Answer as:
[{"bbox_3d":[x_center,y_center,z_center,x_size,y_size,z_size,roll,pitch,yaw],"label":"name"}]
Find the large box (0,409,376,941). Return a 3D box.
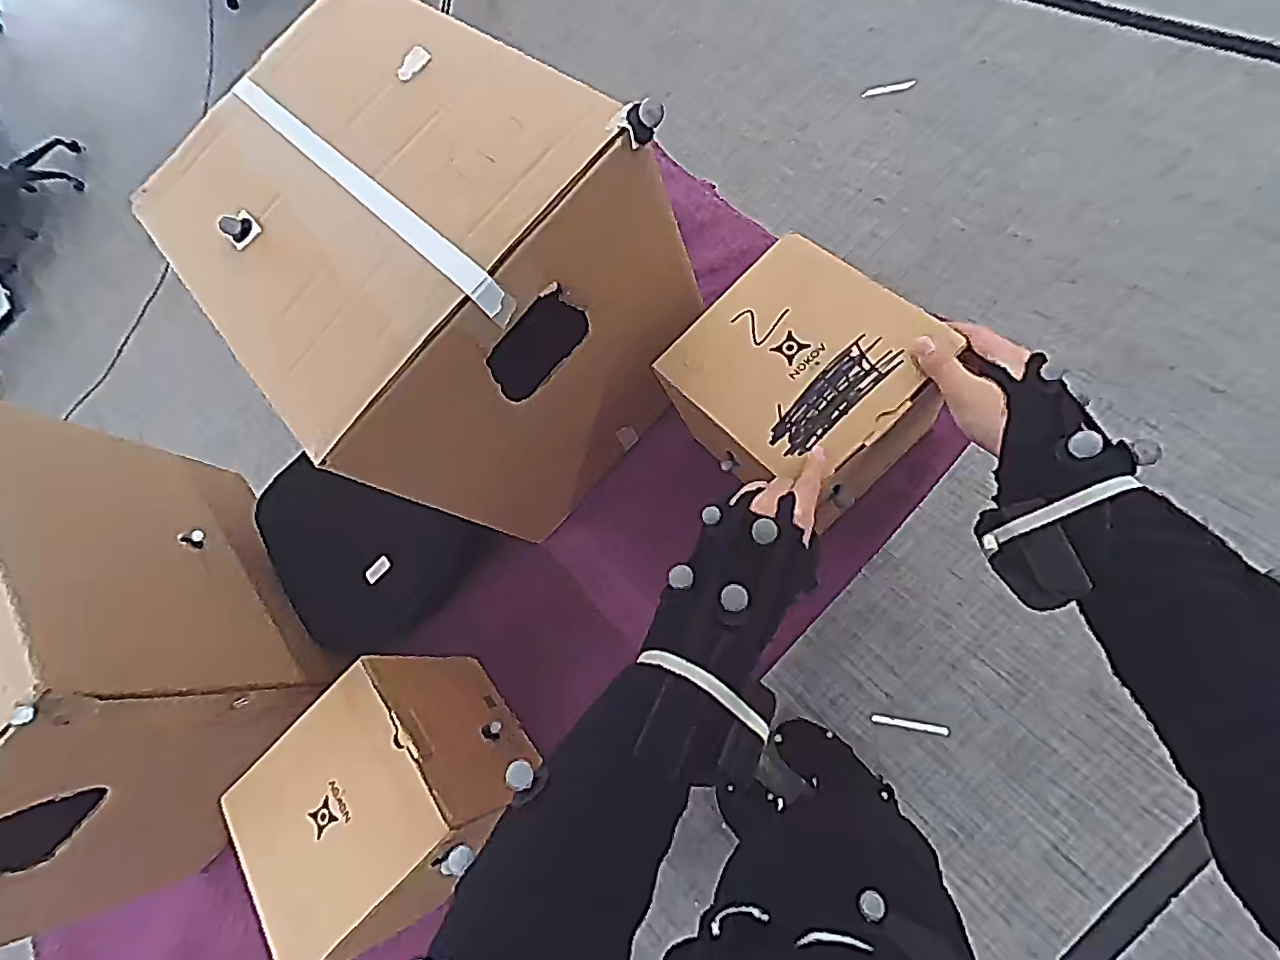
[{"bbox_3d":[-0.589,0.183,0.583,0.408,0.320,0.320,40,89,22],"label":"large box"}]
